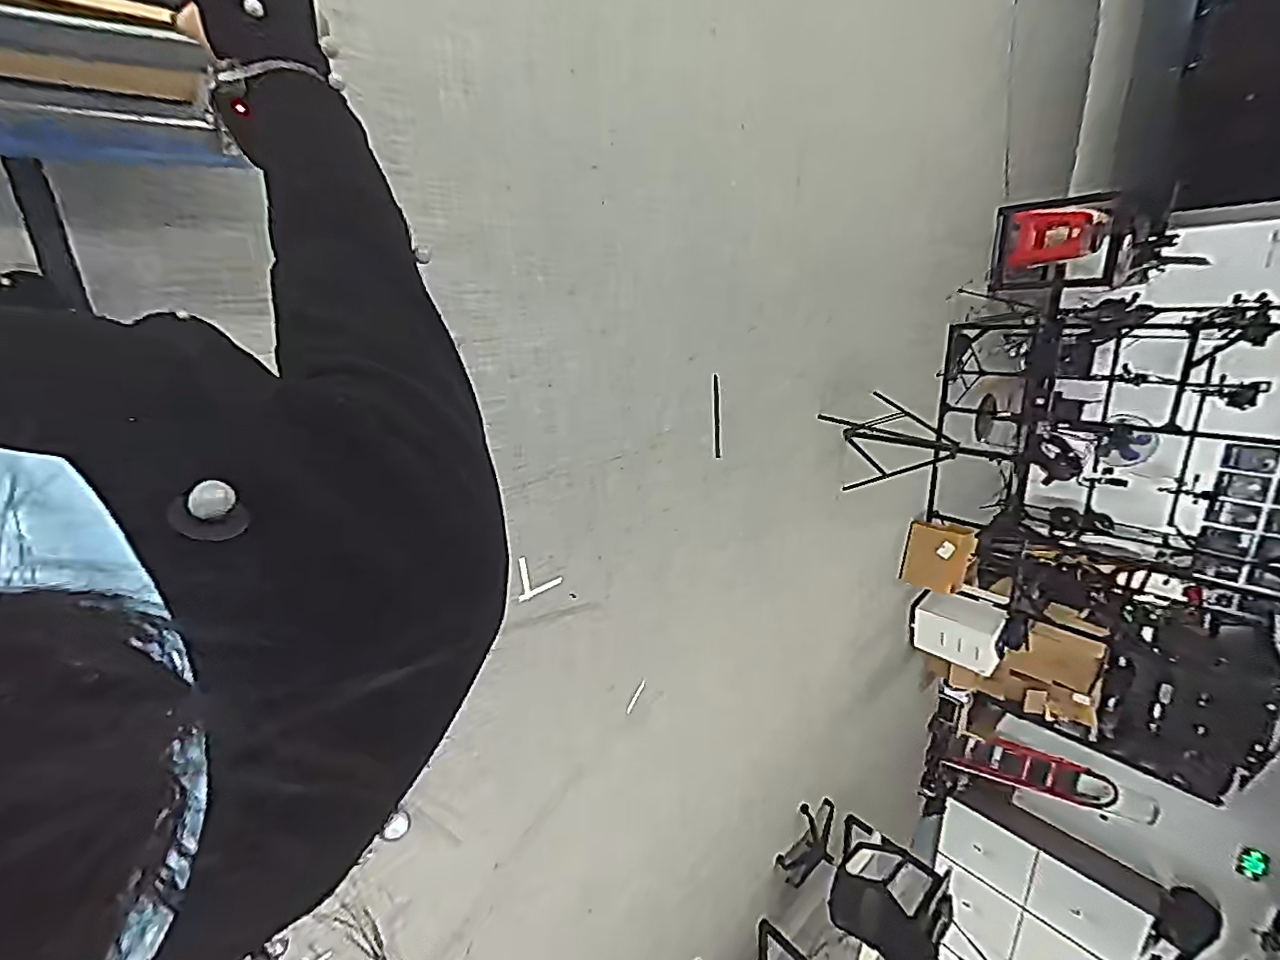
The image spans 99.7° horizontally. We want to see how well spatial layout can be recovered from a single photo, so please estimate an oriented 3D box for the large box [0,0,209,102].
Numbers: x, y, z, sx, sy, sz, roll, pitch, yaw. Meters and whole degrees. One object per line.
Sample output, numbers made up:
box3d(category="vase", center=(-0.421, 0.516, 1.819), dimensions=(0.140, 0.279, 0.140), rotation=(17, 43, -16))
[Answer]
box3d(category="large box", center=(-0.828, -0.706, 0.649), dimensions=(0.408, 0.320, 0.320), rotation=(-20, 115, -39))
